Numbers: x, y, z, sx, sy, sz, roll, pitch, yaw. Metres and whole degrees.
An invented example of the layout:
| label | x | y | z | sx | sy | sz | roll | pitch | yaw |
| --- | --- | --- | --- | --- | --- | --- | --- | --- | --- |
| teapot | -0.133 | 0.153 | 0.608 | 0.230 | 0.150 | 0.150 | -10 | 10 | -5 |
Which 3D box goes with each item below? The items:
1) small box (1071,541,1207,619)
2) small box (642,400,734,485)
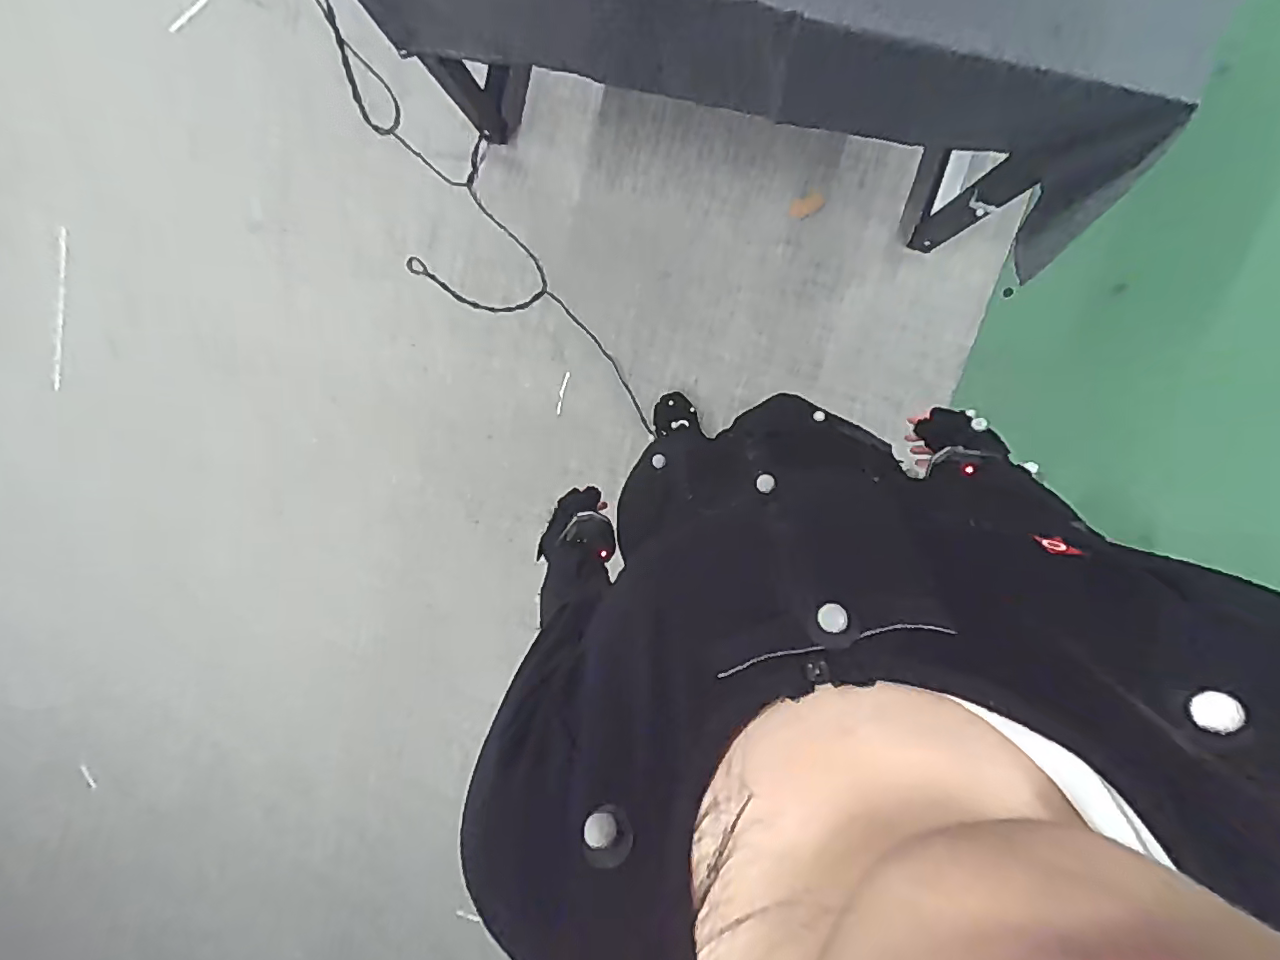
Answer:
| label | x | y | z | sx | sy | sz | roll | pitch | yaw |
| --- | --- | --- | --- | --- | --- | --- | --- | --- | --- |
| small box | 1.230 | 0.264 | 1.333 | 0.179 | 0.176 | 0.168 | 21 | 100 | 2 |
| small box | 0.120 | -0.103 | 1.410 | 0.179 | 0.176 | 0.168 | 24 | 111 | 19 |
